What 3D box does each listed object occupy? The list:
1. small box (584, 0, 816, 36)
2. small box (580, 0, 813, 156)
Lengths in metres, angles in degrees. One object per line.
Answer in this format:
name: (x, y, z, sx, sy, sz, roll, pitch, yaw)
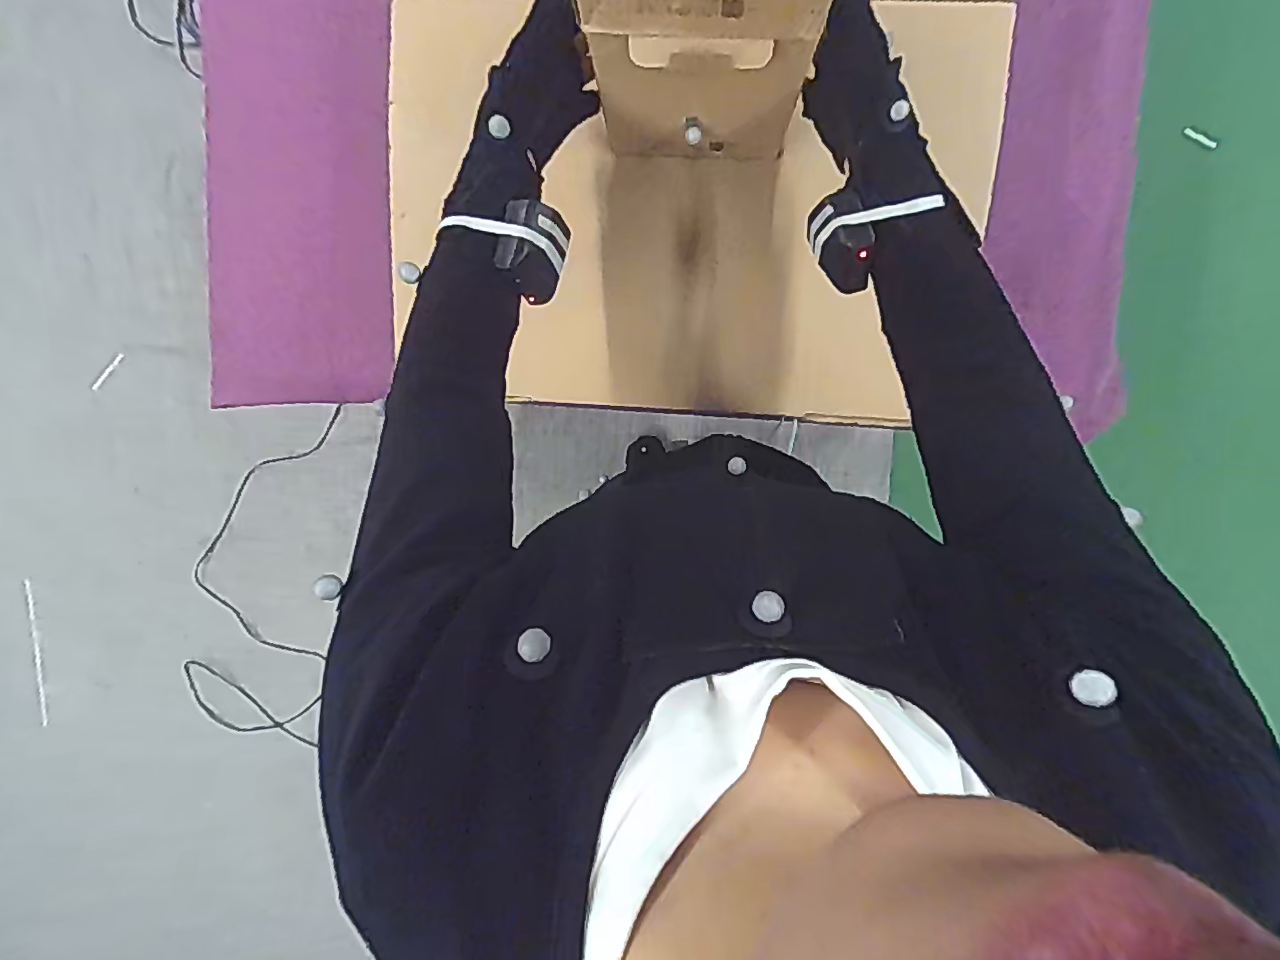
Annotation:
small box: (0.039, -0.395, 0.291, 0.168, 0.176, 0.179, 4, 95, 3)
small box: (0.049, -0.408, 0.452, 0.168, 0.176, 0.179, 4, 94, 4)
